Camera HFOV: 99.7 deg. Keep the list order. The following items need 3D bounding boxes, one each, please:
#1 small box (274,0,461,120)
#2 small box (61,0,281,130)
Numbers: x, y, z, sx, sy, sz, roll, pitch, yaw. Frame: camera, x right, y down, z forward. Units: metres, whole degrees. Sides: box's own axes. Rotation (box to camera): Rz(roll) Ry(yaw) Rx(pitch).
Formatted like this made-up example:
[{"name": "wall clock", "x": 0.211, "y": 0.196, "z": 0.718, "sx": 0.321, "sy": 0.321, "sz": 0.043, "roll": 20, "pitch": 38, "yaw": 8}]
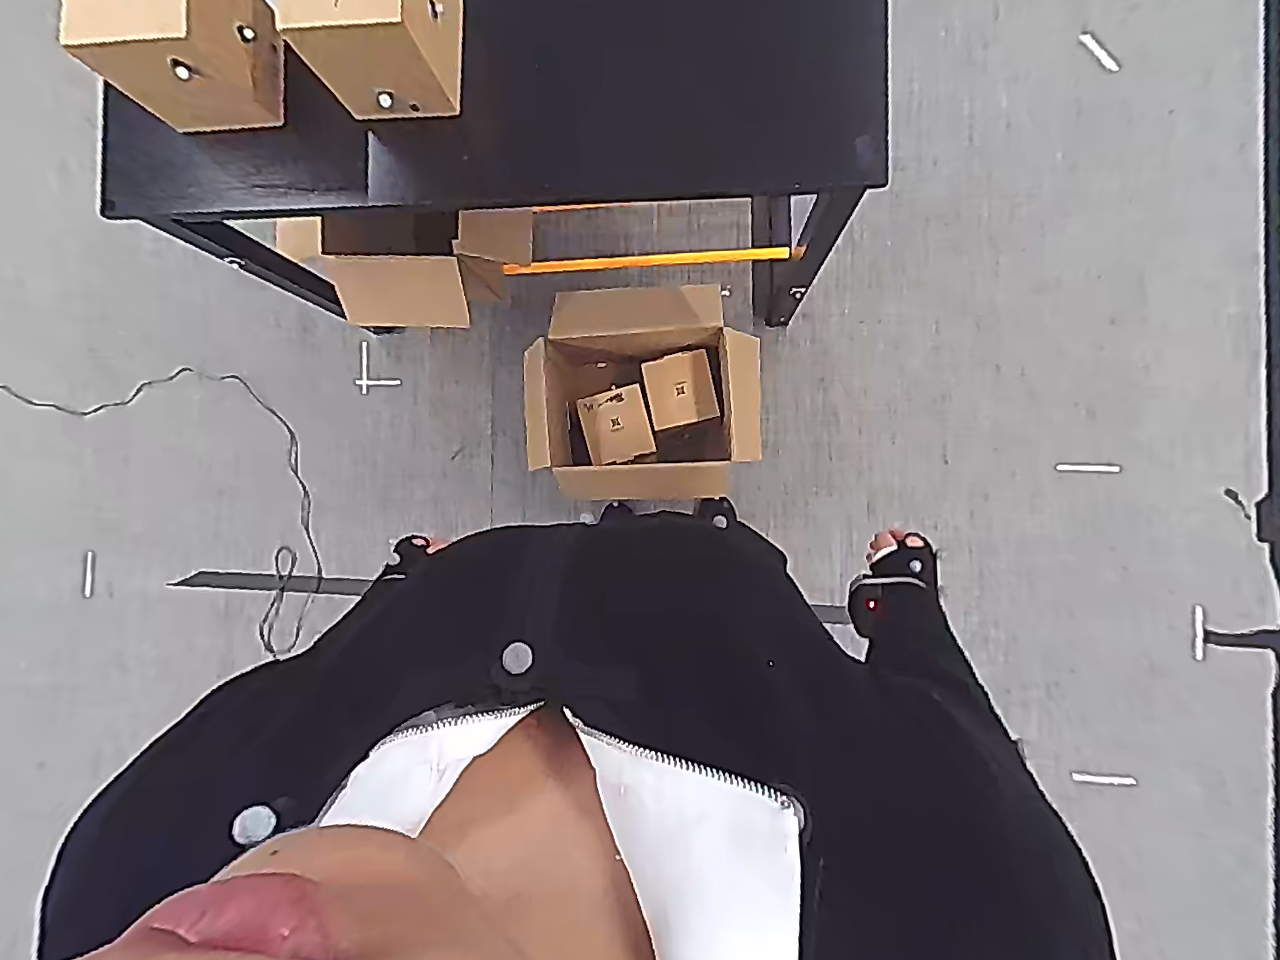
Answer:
[{"name": "small box", "x": -0.357, "y": -0.633, "z": 0.738, "sx": 0.168, "sy": 0.176, "sz": 0.179, "roll": 1, "pitch": 90, "yaw": 5}, {"name": "small box", "x": -0.641, "y": -0.627, "z": 0.759, "sx": 0.179, "sy": 0.176, "sz": 0.168, "roll": 0, "pitch": 88, "yaw": 4}]
